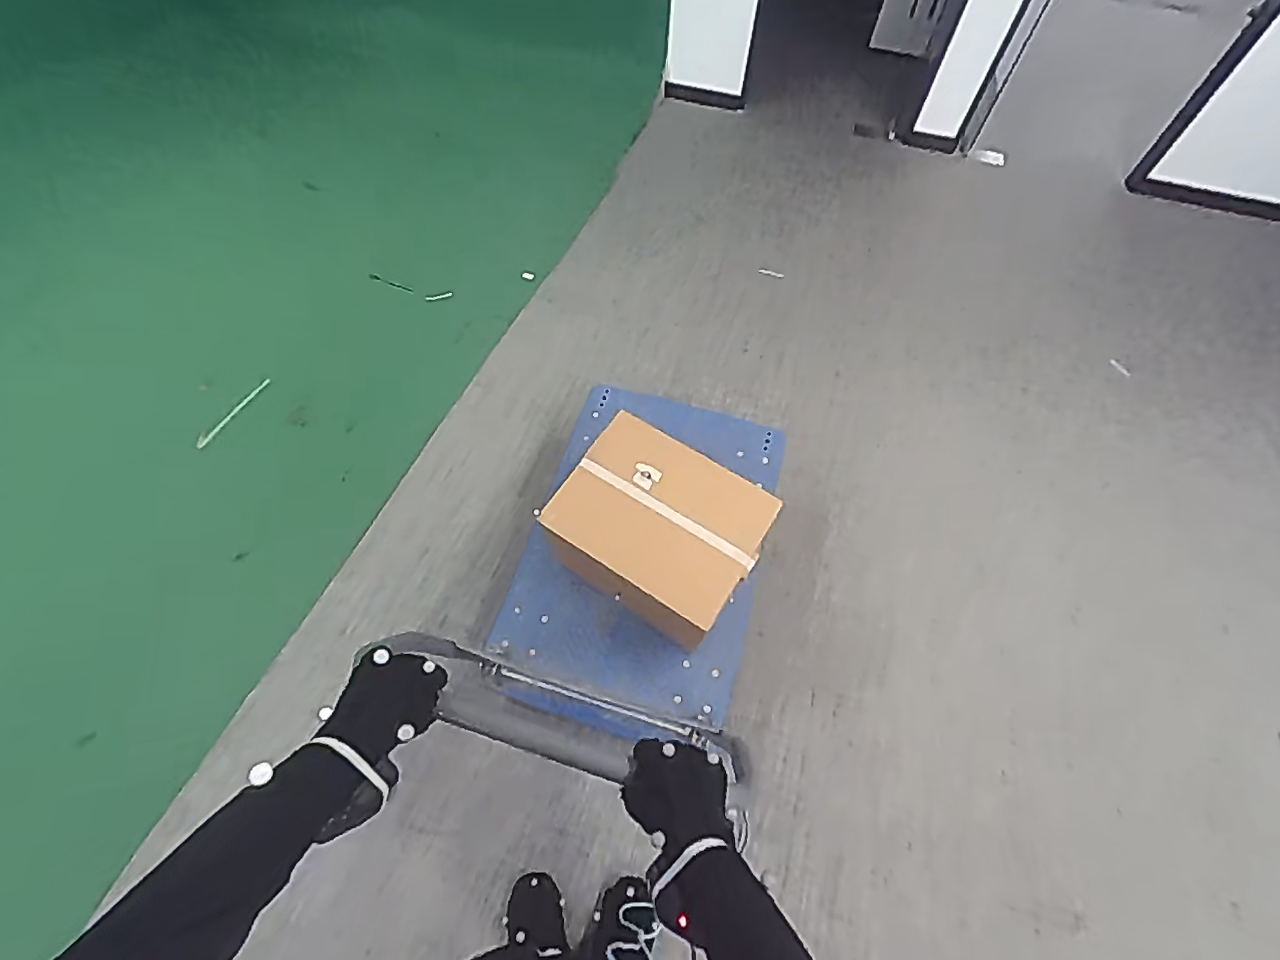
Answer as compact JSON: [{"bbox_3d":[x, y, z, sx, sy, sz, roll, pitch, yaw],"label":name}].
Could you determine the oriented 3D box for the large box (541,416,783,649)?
[{"bbox_3d":[0.052,0.130,1.226,0.408,0.320,0.320,30,69,15],"label":"large box"}]
